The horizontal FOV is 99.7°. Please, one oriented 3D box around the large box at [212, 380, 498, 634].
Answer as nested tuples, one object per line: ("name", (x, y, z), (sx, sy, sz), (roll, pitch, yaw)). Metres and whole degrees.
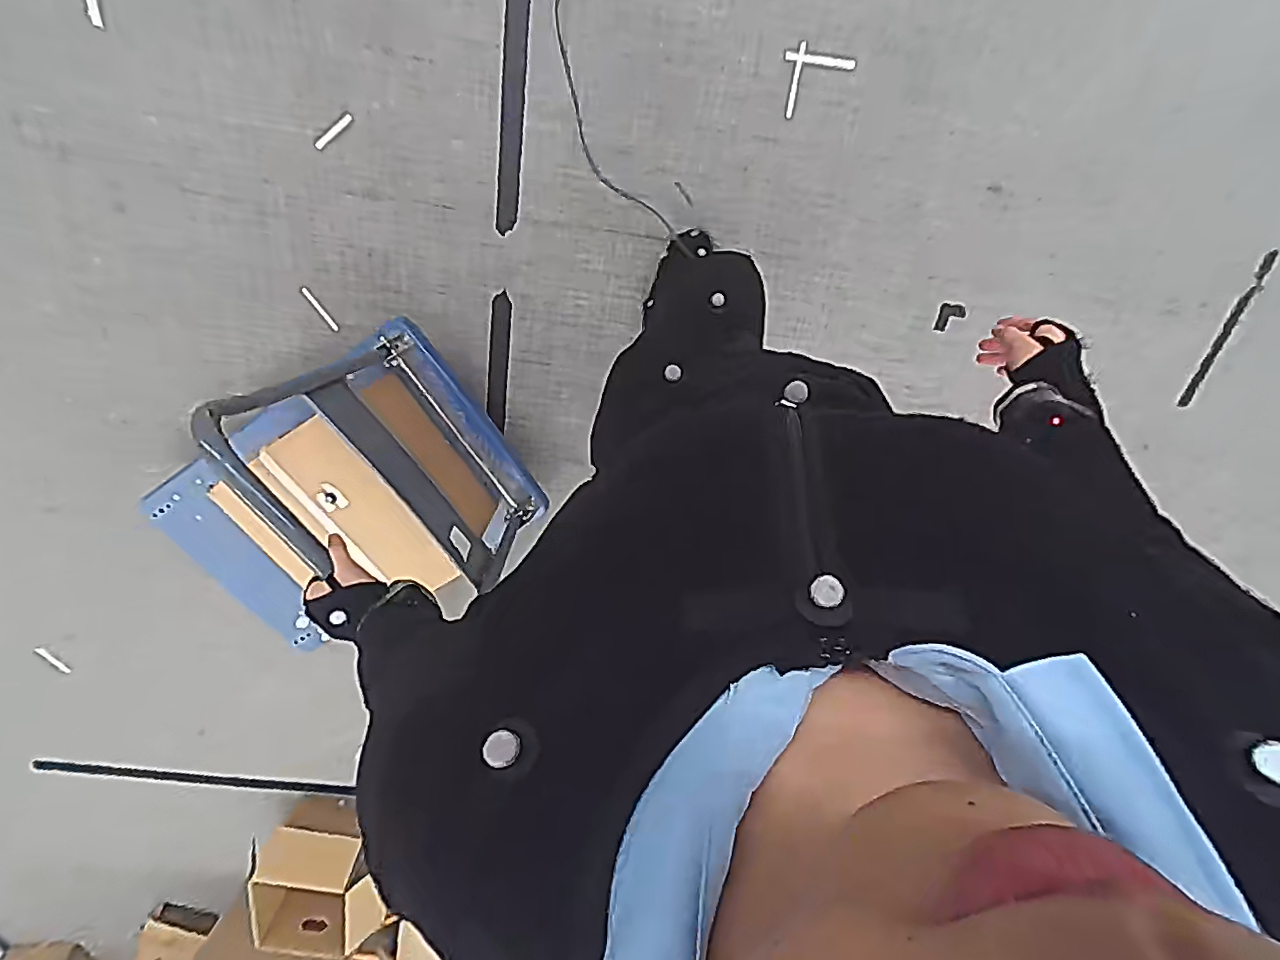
("large box", (-0.586, 0.050, 1.203), (0.320, 0.320, 0.408), (-30, 109, 11))
